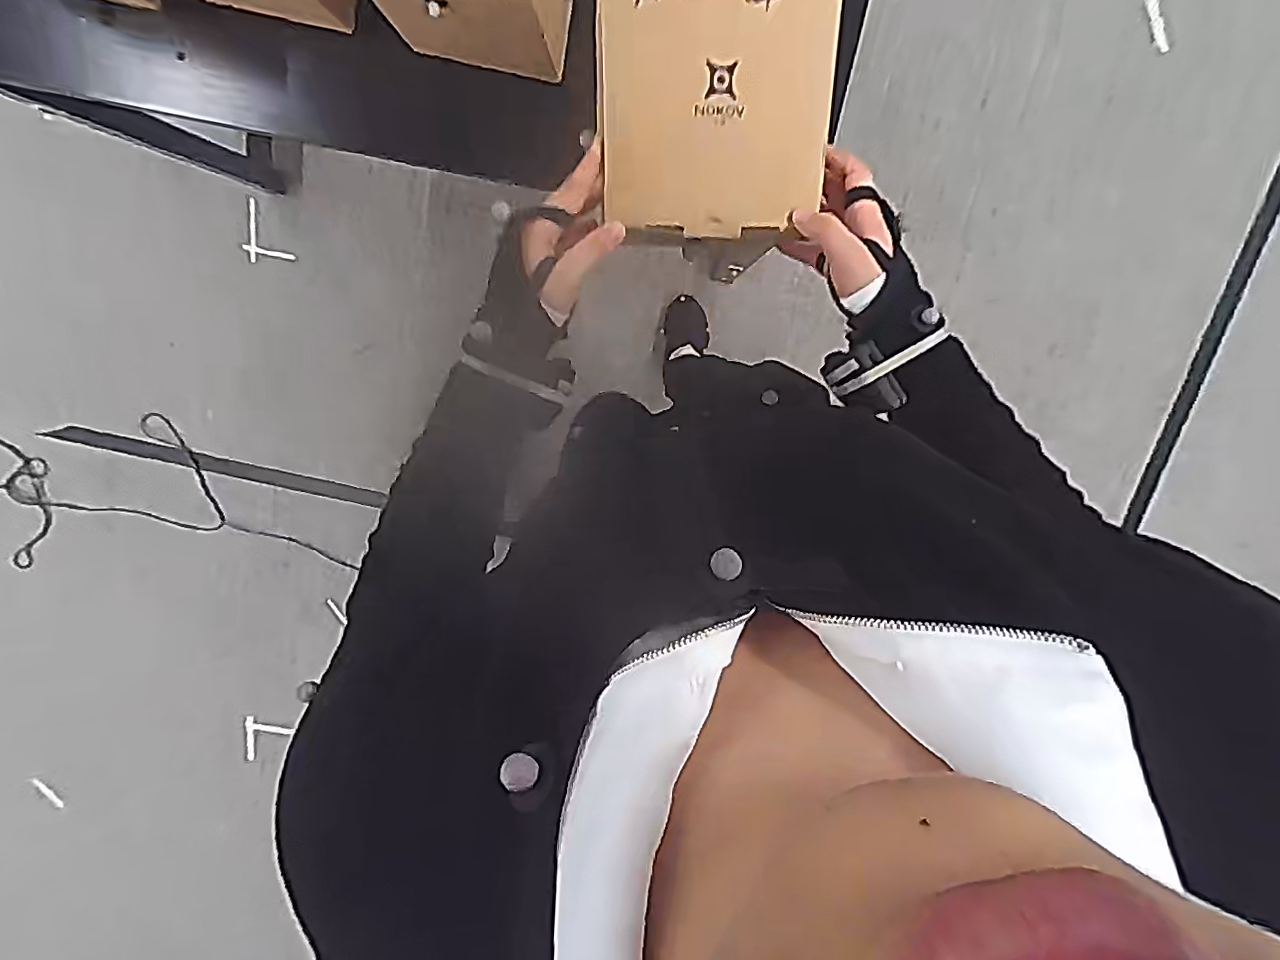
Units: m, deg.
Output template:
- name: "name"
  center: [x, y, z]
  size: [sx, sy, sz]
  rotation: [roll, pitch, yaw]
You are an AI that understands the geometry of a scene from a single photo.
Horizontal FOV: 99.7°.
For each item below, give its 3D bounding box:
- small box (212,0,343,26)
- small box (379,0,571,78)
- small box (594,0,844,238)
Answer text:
- name: "small box"
  center: [-0.399, -0.583, 0.516]
  size: [0.179, 0.176, 0.168]
  rotation: [12, 104, -1]
- name: "small box"
  center: [-0.164, -0.530, 0.522]
  size: [0.179, 0.176, 0.168]
  rotation: [12, 104, -2]
- name: "small box"
  center: [0.047, -0.300, 0.447]
  size: [0.168, 0.176, 0.179]
  rotation: [-1, 111, -5]
